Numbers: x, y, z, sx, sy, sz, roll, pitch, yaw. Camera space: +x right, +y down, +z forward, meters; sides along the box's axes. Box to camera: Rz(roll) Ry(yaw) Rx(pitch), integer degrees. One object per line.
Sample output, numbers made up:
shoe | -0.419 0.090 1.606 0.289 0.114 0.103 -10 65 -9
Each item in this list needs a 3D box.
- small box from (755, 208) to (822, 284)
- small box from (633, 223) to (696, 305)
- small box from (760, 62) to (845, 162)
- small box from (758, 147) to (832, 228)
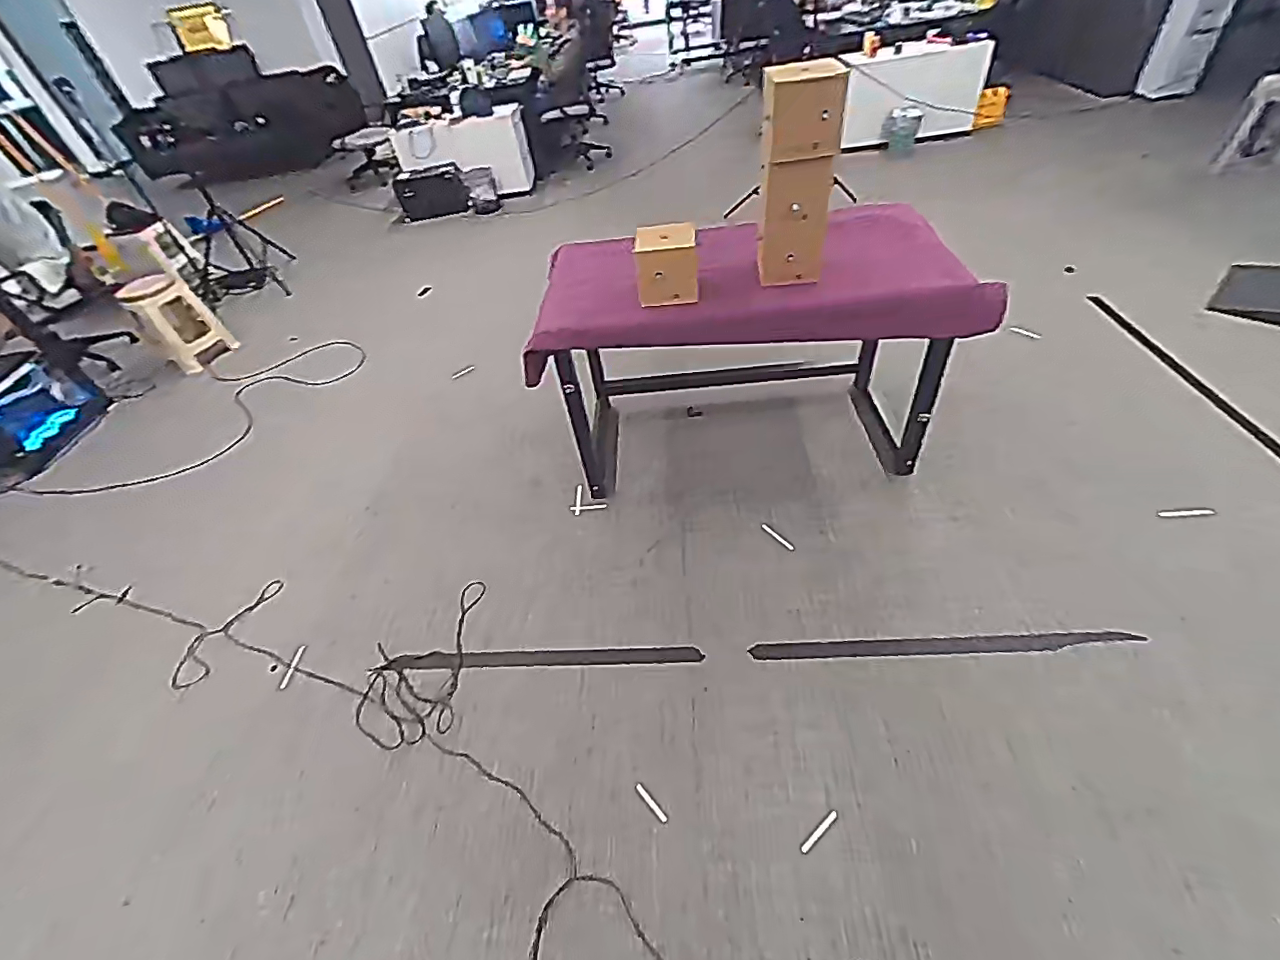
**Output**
small box | 0.425 -0.680 1.566 0.168 0.176 0.179 -2 45 7
small box | 0.074 -0.619 1.568 0.168 0.176 0.179 -3 44 6
small box | 0.389 -0.894 1.322 0.168 0.176 0.179 -4 45 5
small box | 0.408 -0.797 1.452 0.168 0.176 0.179 -3 46 8
